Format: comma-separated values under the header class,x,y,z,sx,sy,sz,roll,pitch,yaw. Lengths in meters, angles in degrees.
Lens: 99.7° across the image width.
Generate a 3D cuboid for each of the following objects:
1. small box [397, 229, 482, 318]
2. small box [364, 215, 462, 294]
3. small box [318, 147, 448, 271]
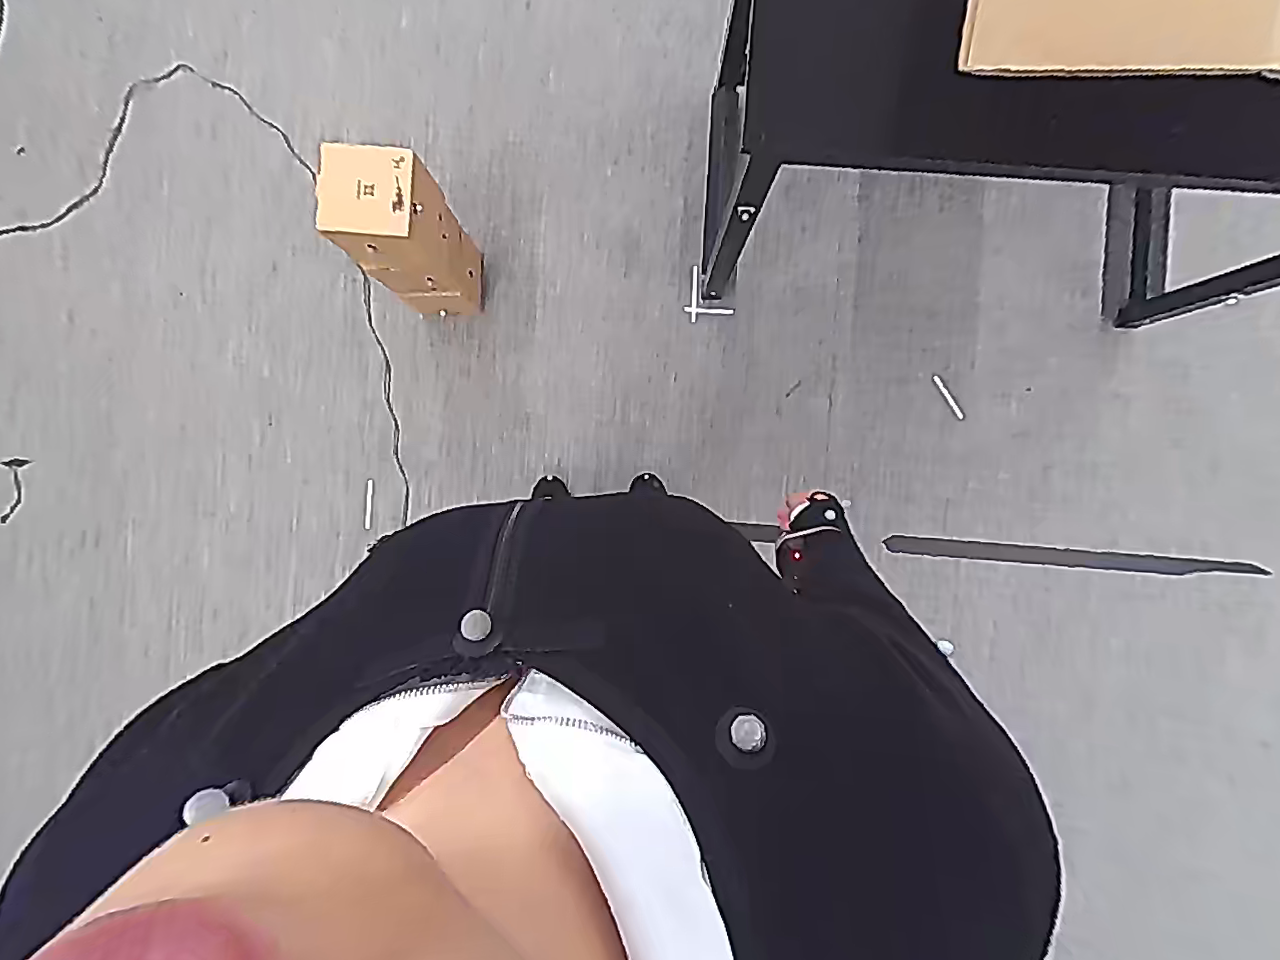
class,x,y,z,sx,sy,sz,roll,pitch,yaw
small box,-0.519,-0.536,1.416,0.168,0.176,0.179,0,91,1
small box,-0.522,-0.541,1.254,0.168,0.176,0.179,-3,89,0
small box,-0.509,-0.537,1.090,0.179,0.176,0.168,4,91,1
